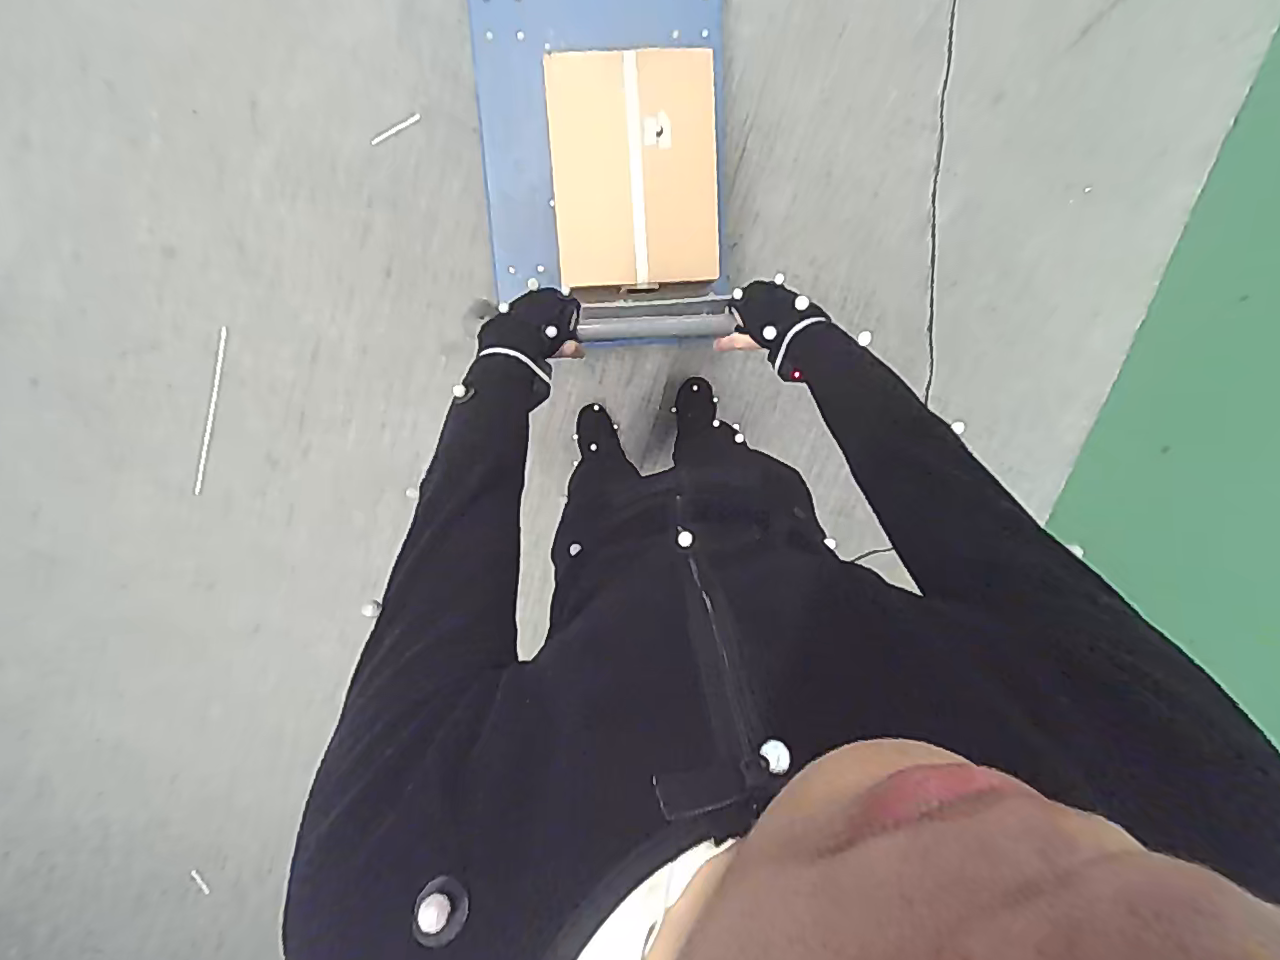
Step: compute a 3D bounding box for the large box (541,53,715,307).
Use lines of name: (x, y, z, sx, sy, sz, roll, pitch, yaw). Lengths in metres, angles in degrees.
large box: (-0.025, -0.615, 1.182, 0.320, 0.320, 0.408, -4, 101, -4)
